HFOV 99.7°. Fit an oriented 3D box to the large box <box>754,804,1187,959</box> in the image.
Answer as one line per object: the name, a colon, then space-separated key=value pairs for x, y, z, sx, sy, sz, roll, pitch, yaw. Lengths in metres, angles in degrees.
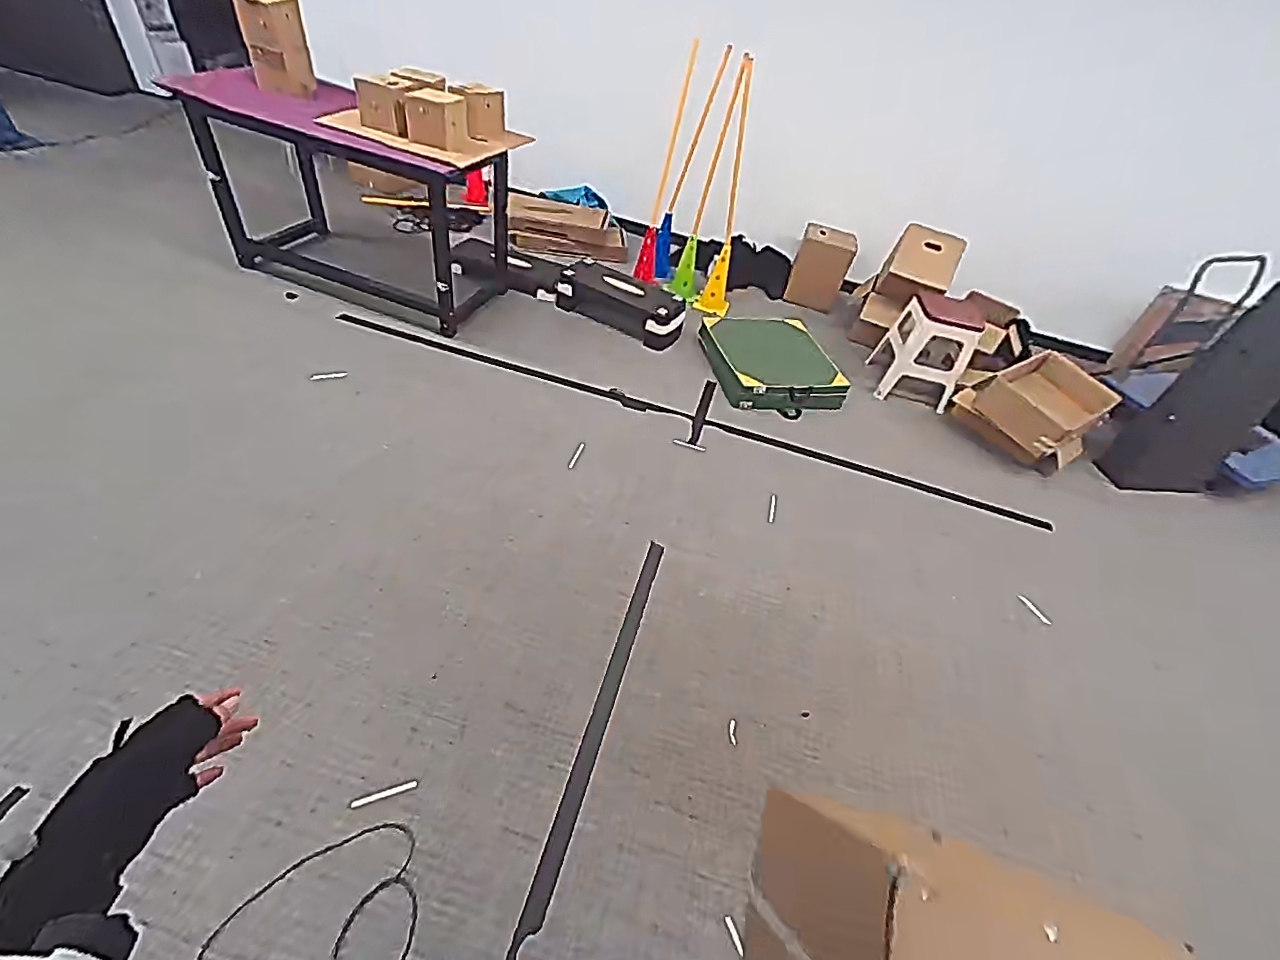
large box: x=0.356 y=0.645 z=0.666 sx=0.320 sy=0.408 sz=0.320 roll=15 pitch=68 yaw=1
